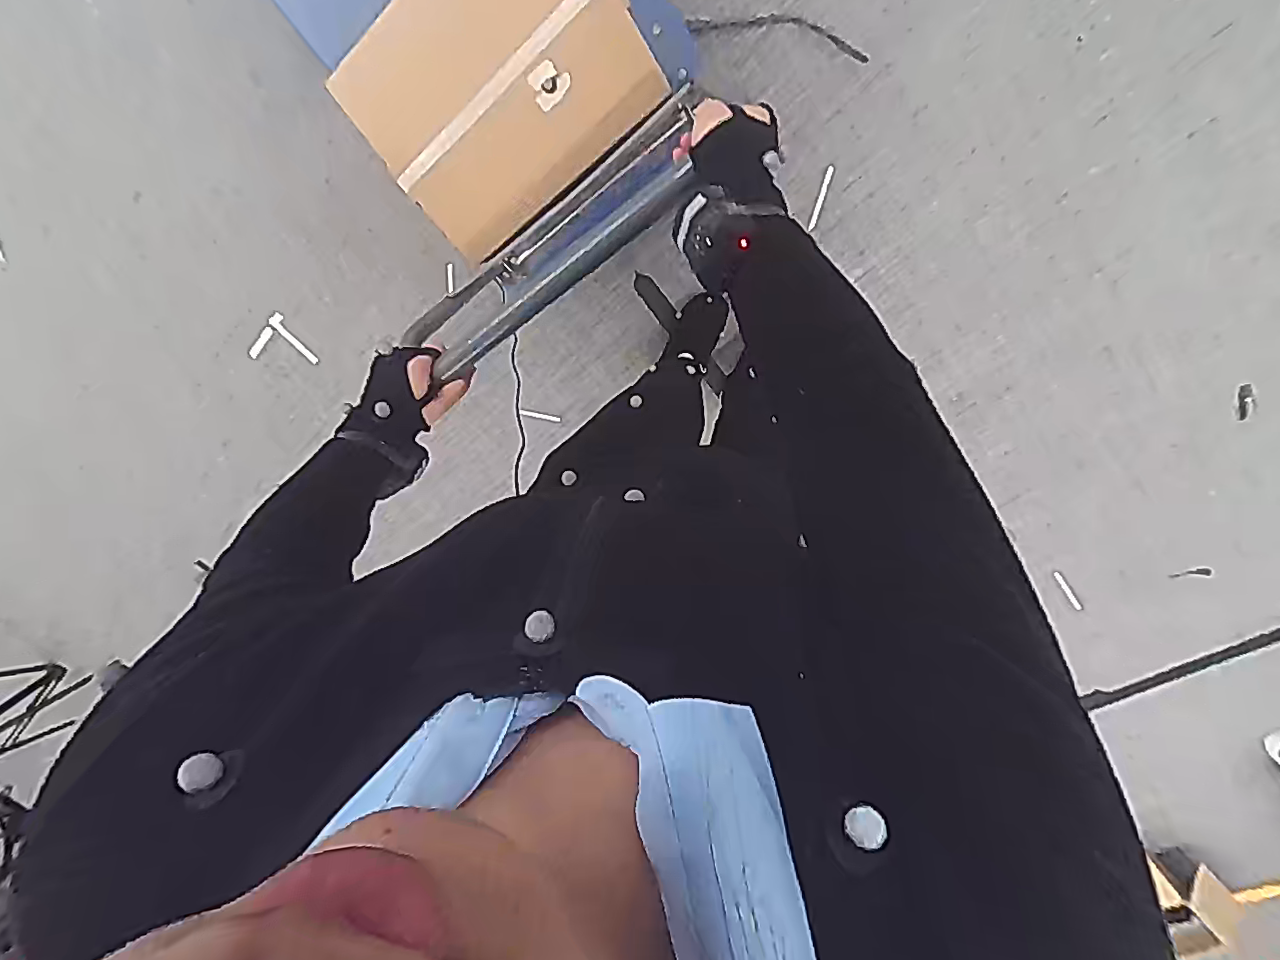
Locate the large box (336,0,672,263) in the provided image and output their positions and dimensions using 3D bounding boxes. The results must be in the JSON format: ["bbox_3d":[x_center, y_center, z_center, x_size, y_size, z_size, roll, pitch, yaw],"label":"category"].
[{"bbox_3d":[-0.194,-0.638,0.907,0.408,0.320,0.320,-32,114,20],"label":"large box"}]
